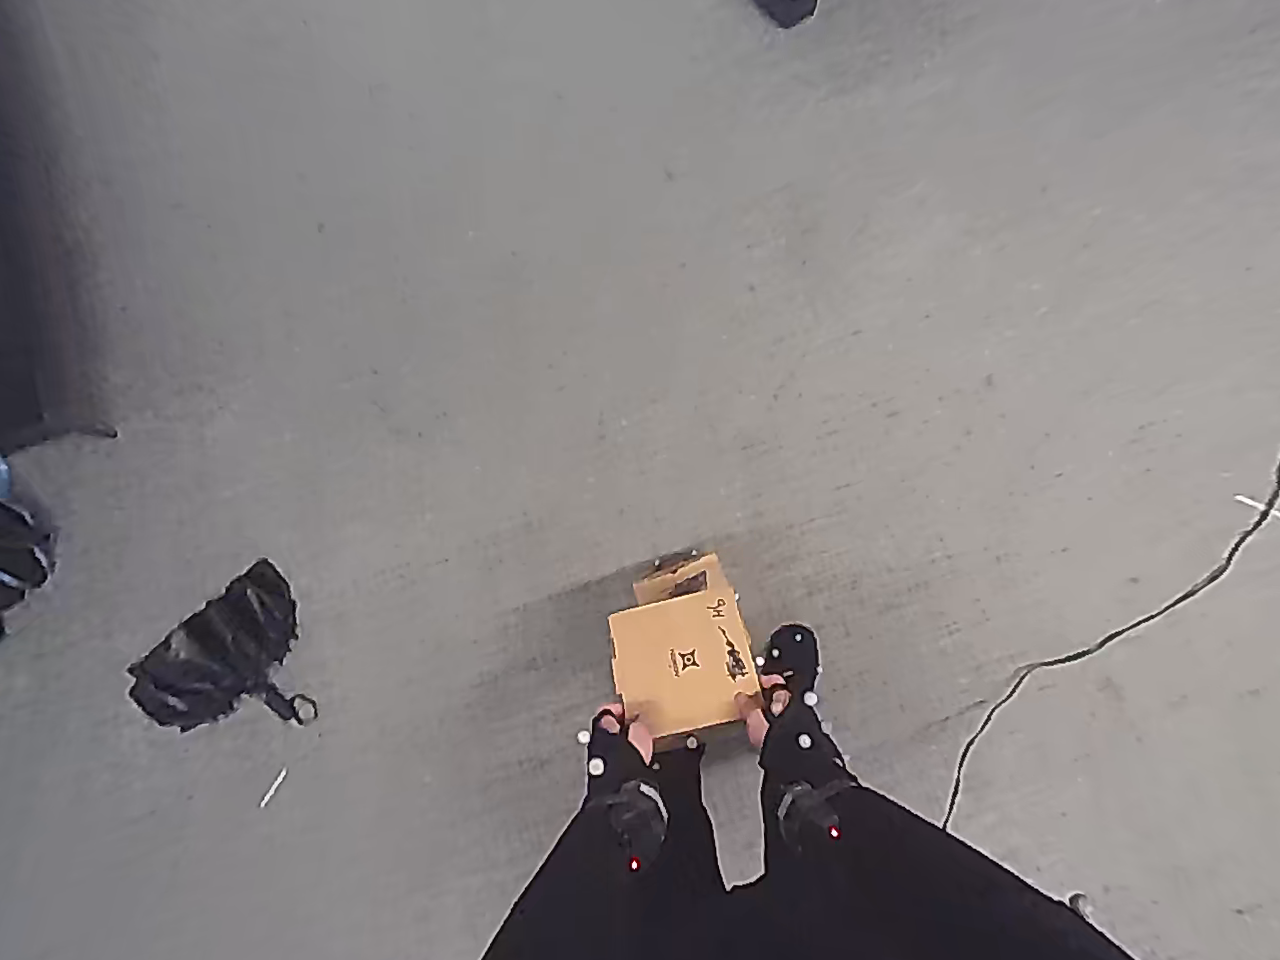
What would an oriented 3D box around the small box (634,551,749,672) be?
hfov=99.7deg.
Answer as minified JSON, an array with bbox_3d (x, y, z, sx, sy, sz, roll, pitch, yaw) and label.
[{"bbox_3d":[0.096,0.248,1.060,0.168,0.176,0.179,-22,83,2],"label":"small box"}]

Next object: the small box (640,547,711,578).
[{"bbox_3d":[0.107,0.261,1.224,0.168,0.176,0.179,-22,84,2],"label":"small box"}]
